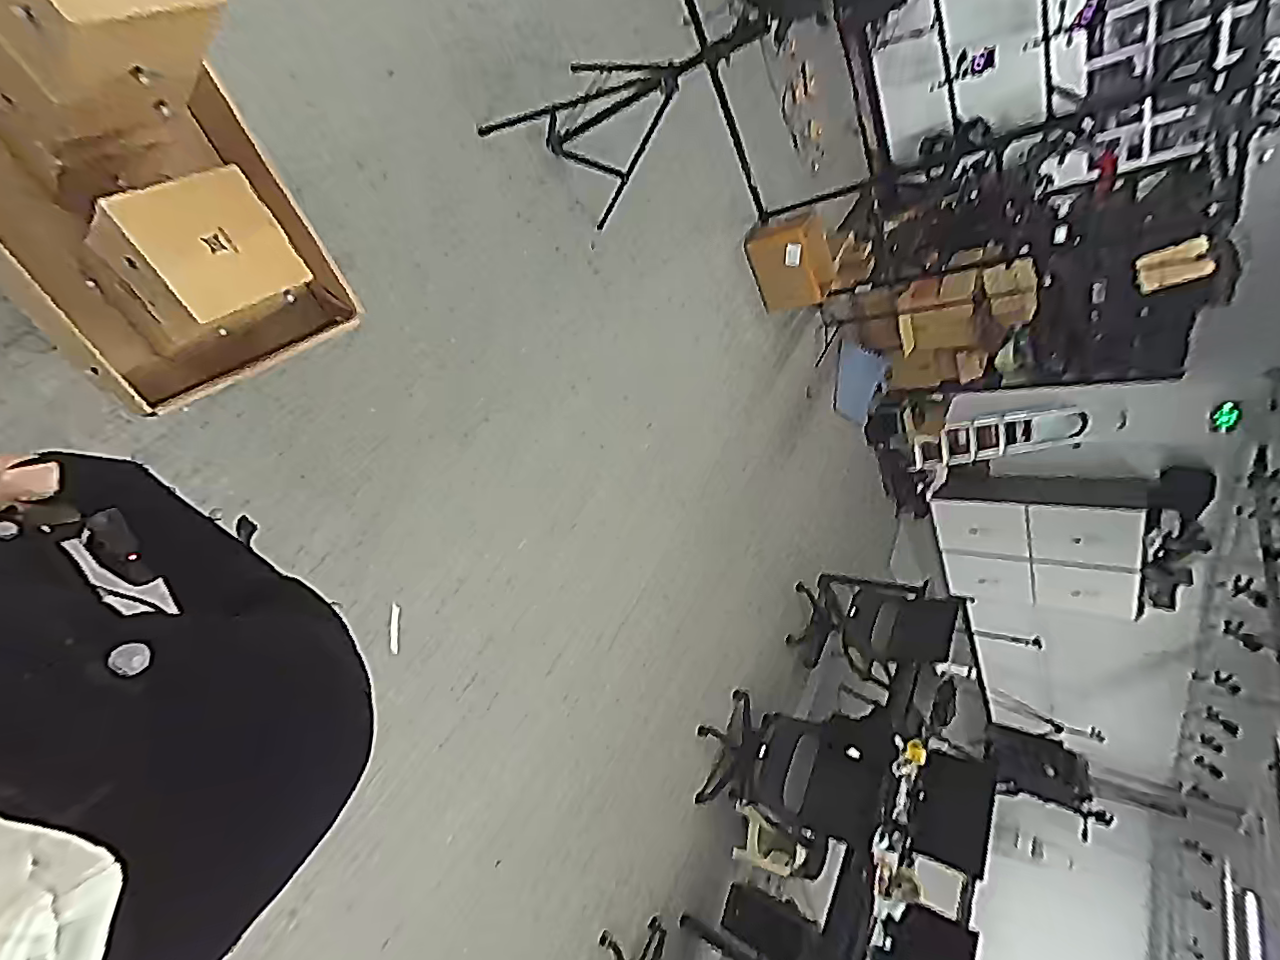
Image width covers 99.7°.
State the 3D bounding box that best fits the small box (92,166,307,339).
[{"bbox_3d":[-0.646,-0.325,0.795,0.179,0.176,0.168,-50,126,-37],"label":"small box"}]

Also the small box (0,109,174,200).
[{"bbox_3d":[-0.853,-0.548,0.796,0.168,0.176,0.179,-50,127,-35],"label":"small box"}]

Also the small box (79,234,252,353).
[{"bbox_3d":[-0.771,-0.329,0.900,0.179,0.176,0.168,-50,126,-37],"label":"small box"}]

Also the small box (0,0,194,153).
[{"bbox_3d":[-0.732,-0.552,0.685,0.179,0.176,0.168,-52,126,-34],"label":"small box"}]
